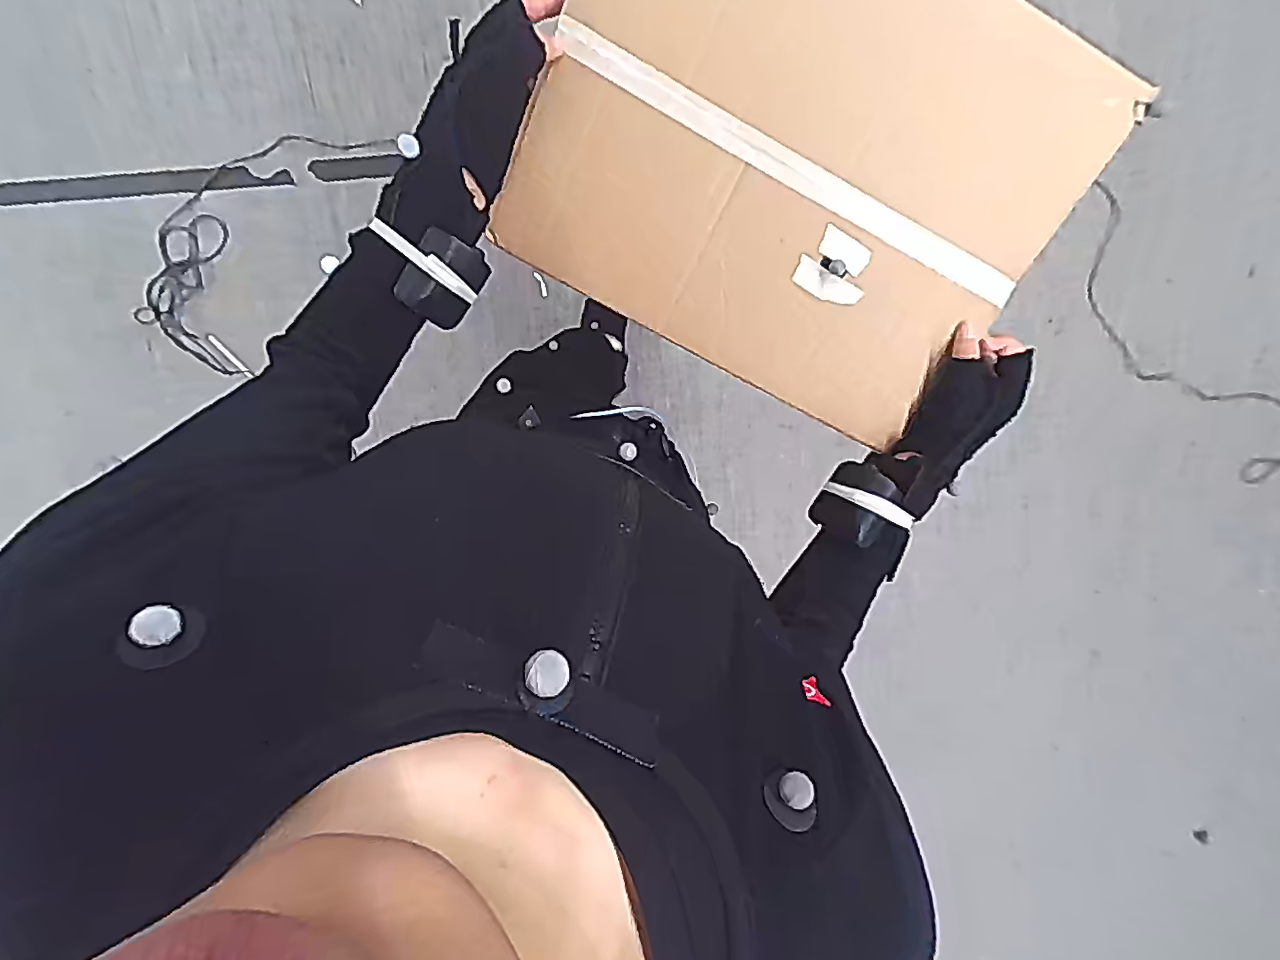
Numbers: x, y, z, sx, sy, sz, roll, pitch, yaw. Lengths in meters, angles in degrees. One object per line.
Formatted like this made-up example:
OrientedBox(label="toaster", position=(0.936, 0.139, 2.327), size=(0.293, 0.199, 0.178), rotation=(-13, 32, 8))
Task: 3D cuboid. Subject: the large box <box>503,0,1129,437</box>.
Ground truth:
OrientedBox(label="large box", position=(0.130, -0.301, 0.570), size=(0.408, 0.320, 0.320), rotation=(27, 111, -8))
